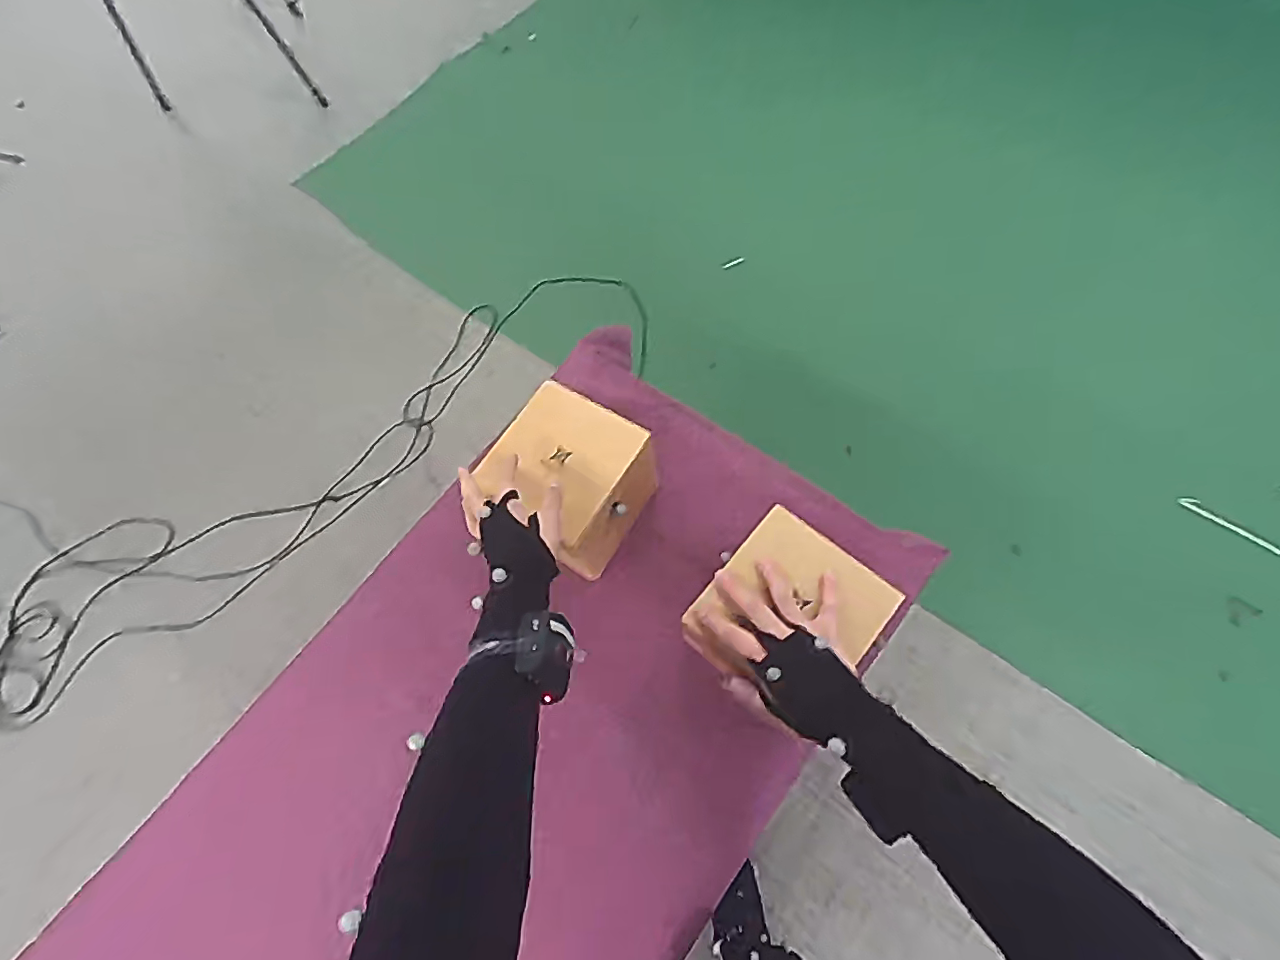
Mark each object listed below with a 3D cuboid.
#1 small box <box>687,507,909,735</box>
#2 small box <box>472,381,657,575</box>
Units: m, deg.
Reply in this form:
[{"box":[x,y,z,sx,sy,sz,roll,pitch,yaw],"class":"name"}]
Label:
[{"box":[0.170,0.167,0.637,0.168,0.176,0.179,39,77,19],"class":"small box"},{"box":[-0.088,0.005,0.737,0.168,0.176,0.179,30,75,16],"class":"small box"}]
